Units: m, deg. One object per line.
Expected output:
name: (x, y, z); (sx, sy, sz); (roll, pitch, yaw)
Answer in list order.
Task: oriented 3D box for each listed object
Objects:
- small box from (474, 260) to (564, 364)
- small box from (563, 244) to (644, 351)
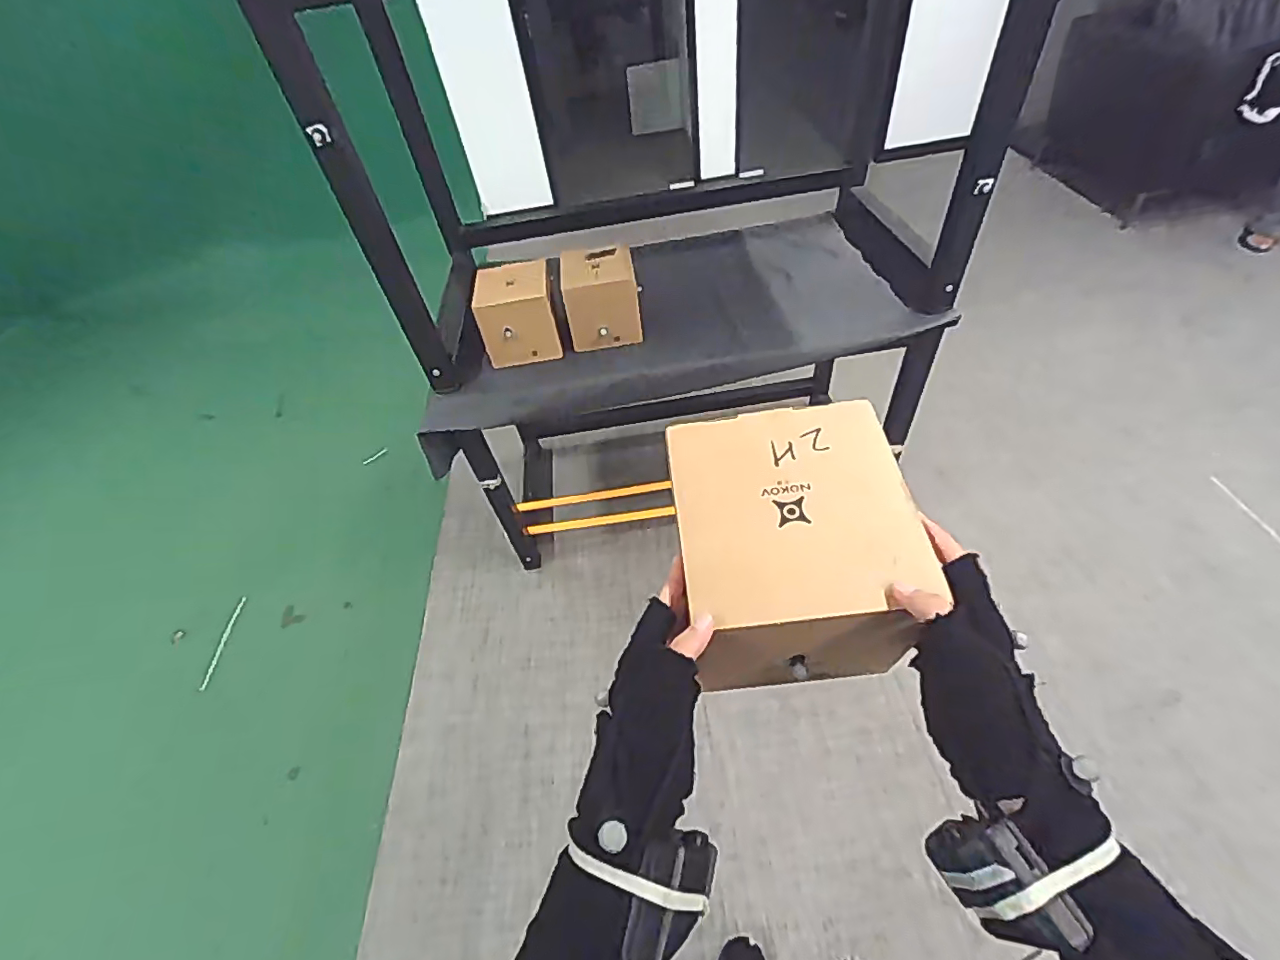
small box: (-0.278, -0.390, 1.276); (0.168, 0.176, 0.179); (-9, 47, 0)
small box: (-0.086, -0.431, 1.282); (0.168, 0.176, 0.179); (-9, 48, 1)
